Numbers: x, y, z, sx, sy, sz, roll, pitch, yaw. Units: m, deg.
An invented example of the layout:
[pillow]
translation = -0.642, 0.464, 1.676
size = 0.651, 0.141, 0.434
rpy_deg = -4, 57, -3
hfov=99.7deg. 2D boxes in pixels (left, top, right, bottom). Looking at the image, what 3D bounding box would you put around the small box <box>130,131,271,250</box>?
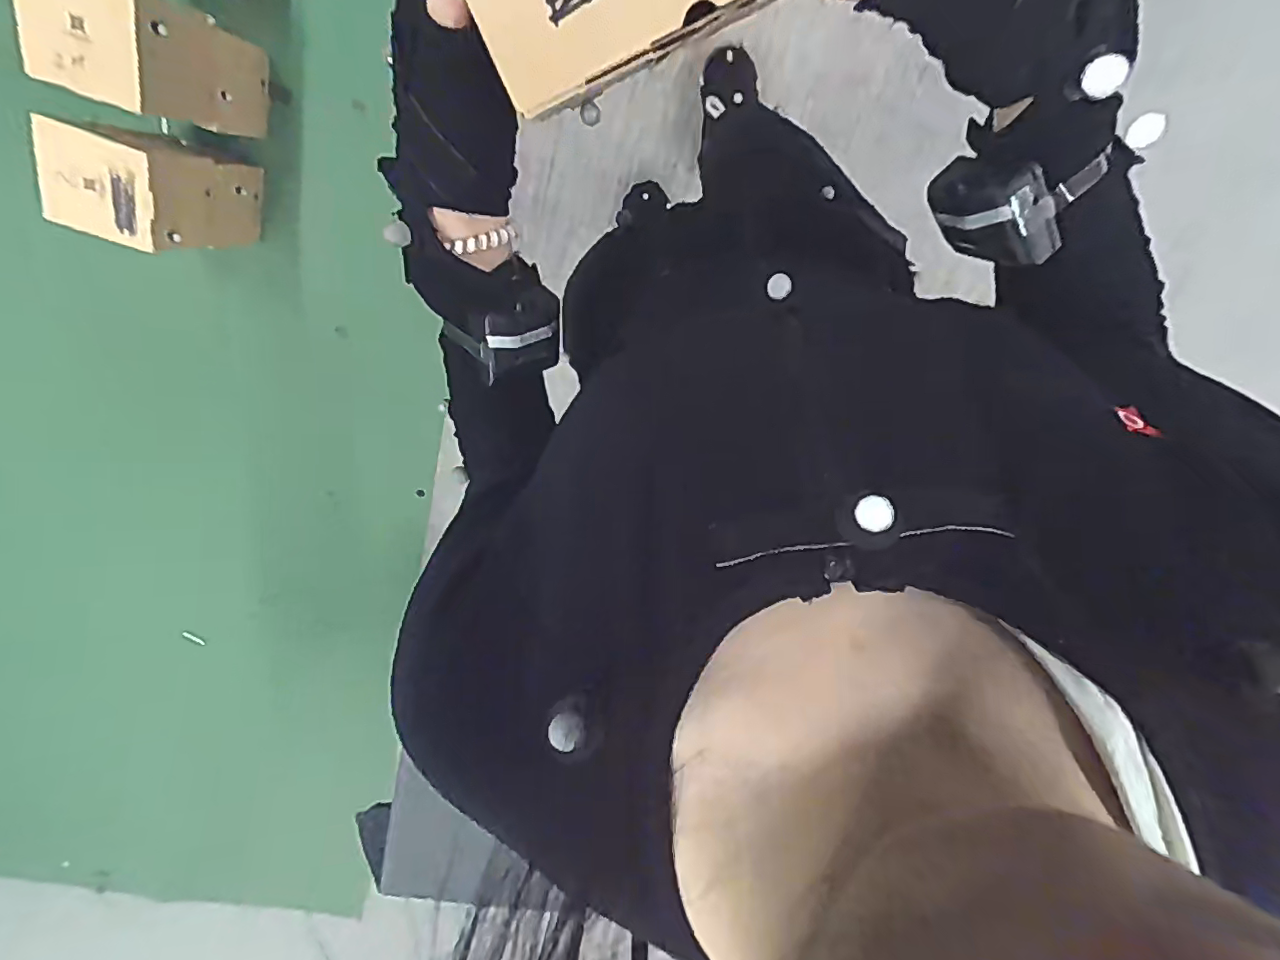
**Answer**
[small box]
translation = -0.923, -0.613, 1.150
size = 0.179, 0.176, 0.168
rpy_deg = 19, 116, -12
